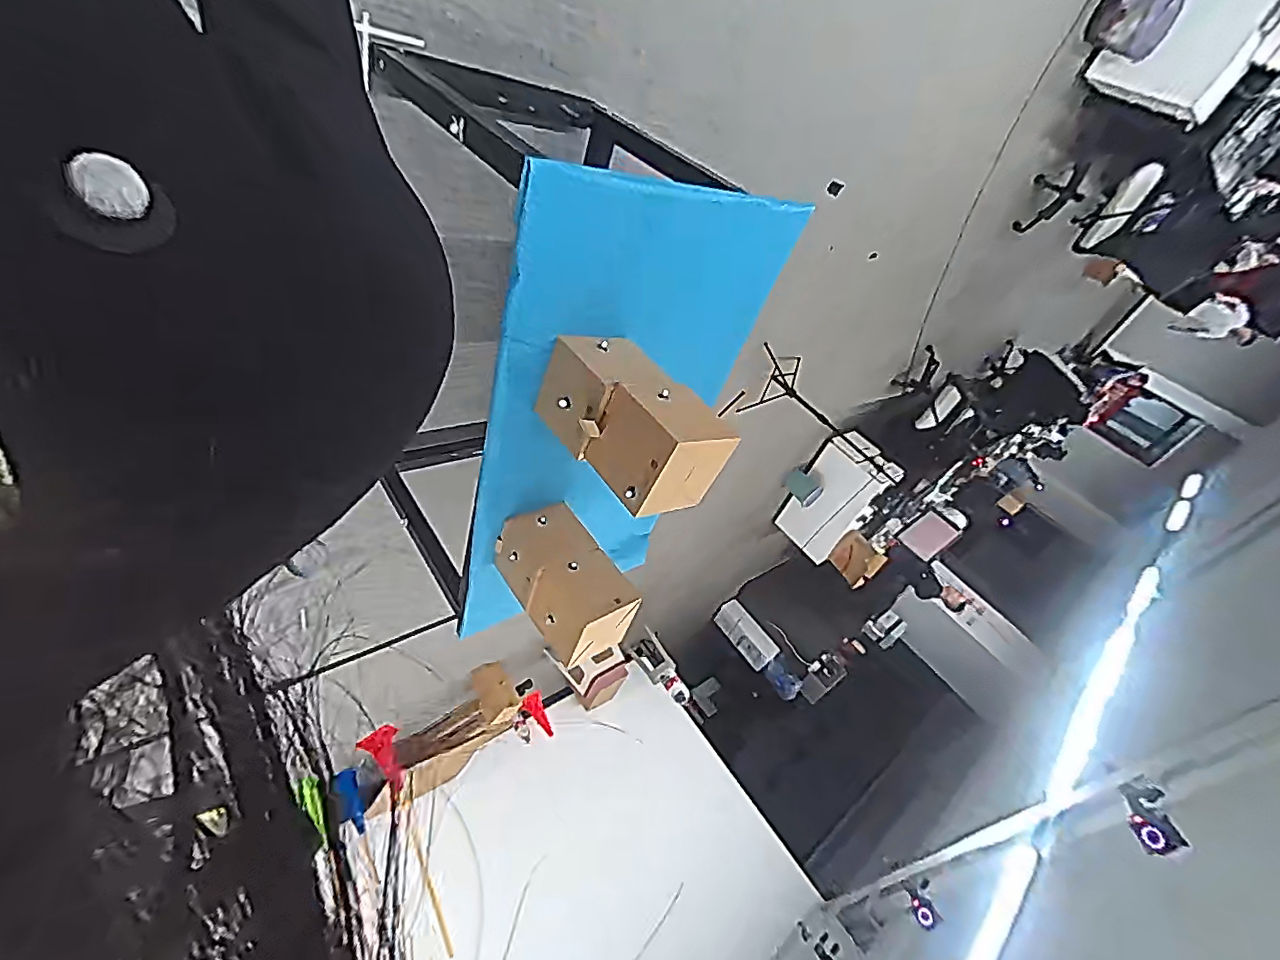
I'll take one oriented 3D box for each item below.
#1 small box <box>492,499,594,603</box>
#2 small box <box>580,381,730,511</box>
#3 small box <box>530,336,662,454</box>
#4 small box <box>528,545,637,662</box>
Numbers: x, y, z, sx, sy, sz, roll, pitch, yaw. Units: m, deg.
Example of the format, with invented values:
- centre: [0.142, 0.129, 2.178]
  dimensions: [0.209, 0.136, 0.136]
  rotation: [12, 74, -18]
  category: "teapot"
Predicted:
- centre: [-0.238, 0.179, 1.327]
  dimensions: [0.179, 0.176, 0.168]
  rotation: [-18, 144, -40]
  category: "small box"
- centre: [0.028, -0.063, 0.972]
  dimensions: [0.179, 0.176, 0.168]
  rotation: [-8, 137, -45]
  category: "small box"
- centre: [-0.081, -0.163, 1.045]
  dimensions: [0.179, 0.176, 0.168]
  rotation: [-13, 141, -43]
  category: "small box"
- centre: [-0.136, 0.288, 1.260]
  dimensions: [0.168, 0.176, 0.179]
  rotation: [-18, 141, -42]
  category: "small box"
